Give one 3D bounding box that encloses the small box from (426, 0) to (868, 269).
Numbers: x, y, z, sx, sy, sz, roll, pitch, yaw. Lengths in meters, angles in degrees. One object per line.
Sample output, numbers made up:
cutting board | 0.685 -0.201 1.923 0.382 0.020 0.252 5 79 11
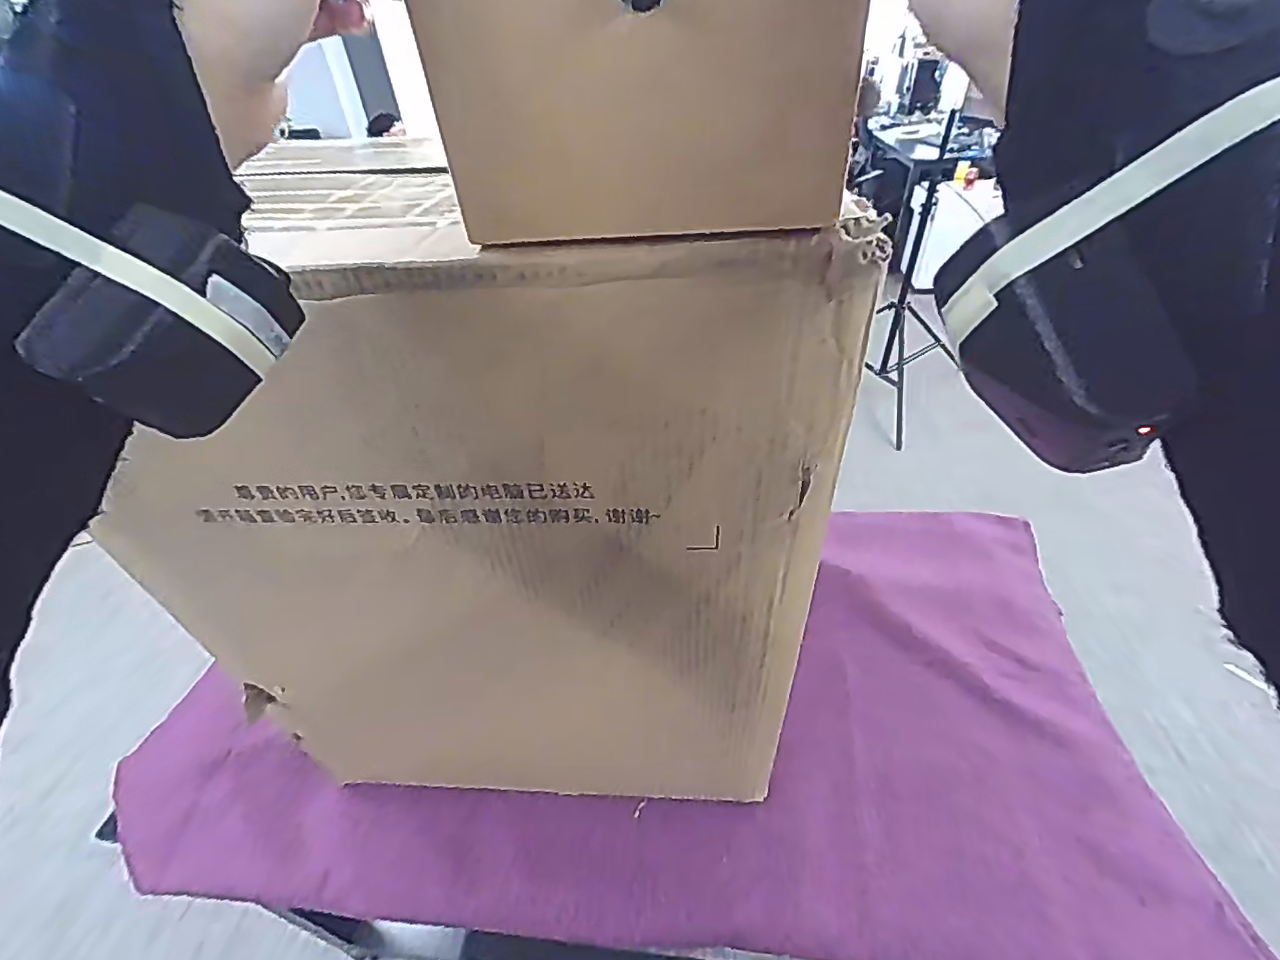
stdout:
small box | 0.007 -0.217 0.257 0.168 0.176 0.179 2 40 8
